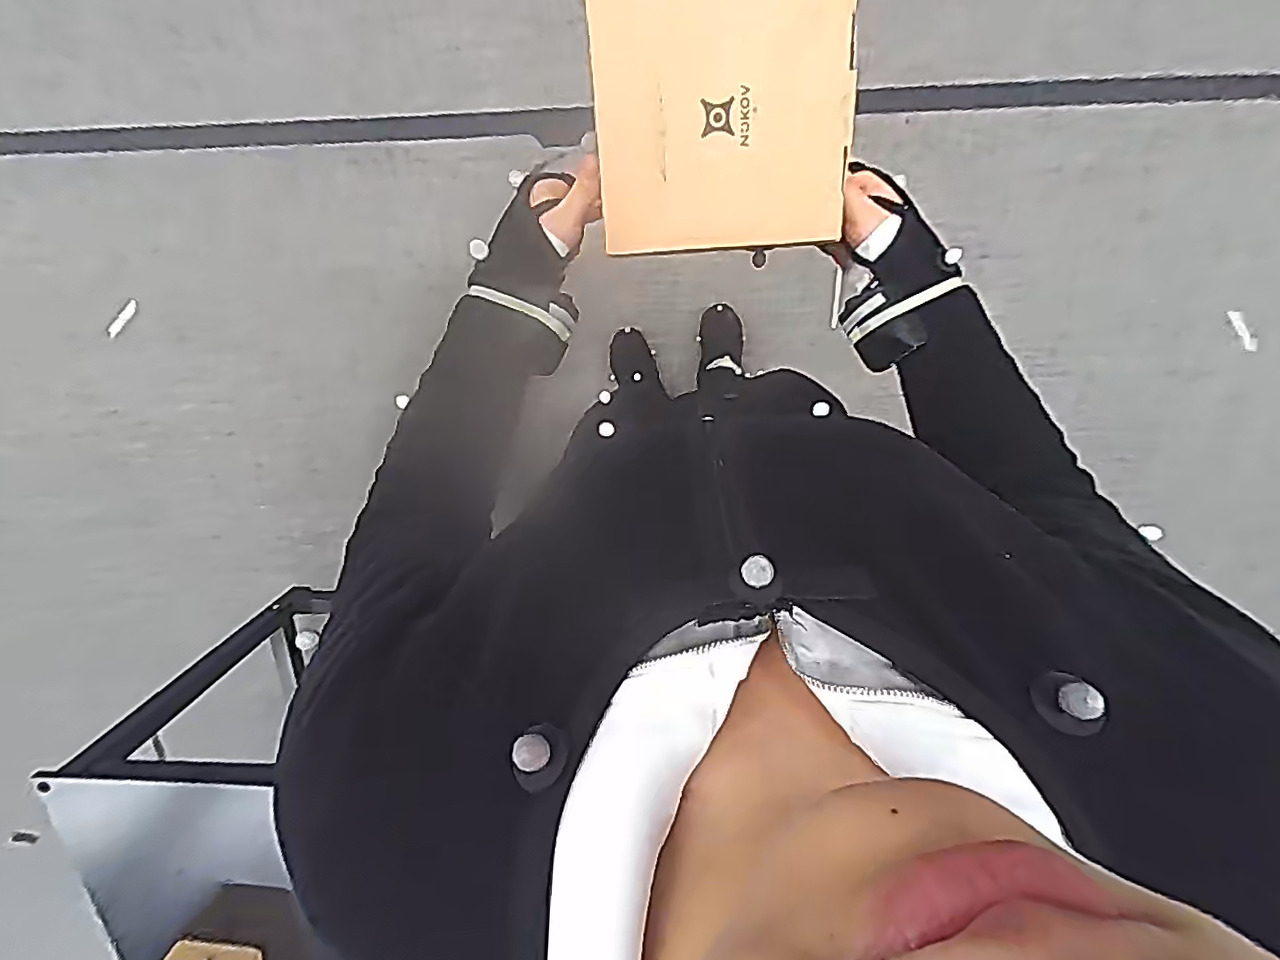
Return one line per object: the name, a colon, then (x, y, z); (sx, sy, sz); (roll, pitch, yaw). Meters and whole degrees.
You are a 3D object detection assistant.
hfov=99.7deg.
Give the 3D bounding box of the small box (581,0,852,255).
small box: (0.052, -0.279, 0.440); (0.179, 0.176, 0.168); (-4, 110, 2)
